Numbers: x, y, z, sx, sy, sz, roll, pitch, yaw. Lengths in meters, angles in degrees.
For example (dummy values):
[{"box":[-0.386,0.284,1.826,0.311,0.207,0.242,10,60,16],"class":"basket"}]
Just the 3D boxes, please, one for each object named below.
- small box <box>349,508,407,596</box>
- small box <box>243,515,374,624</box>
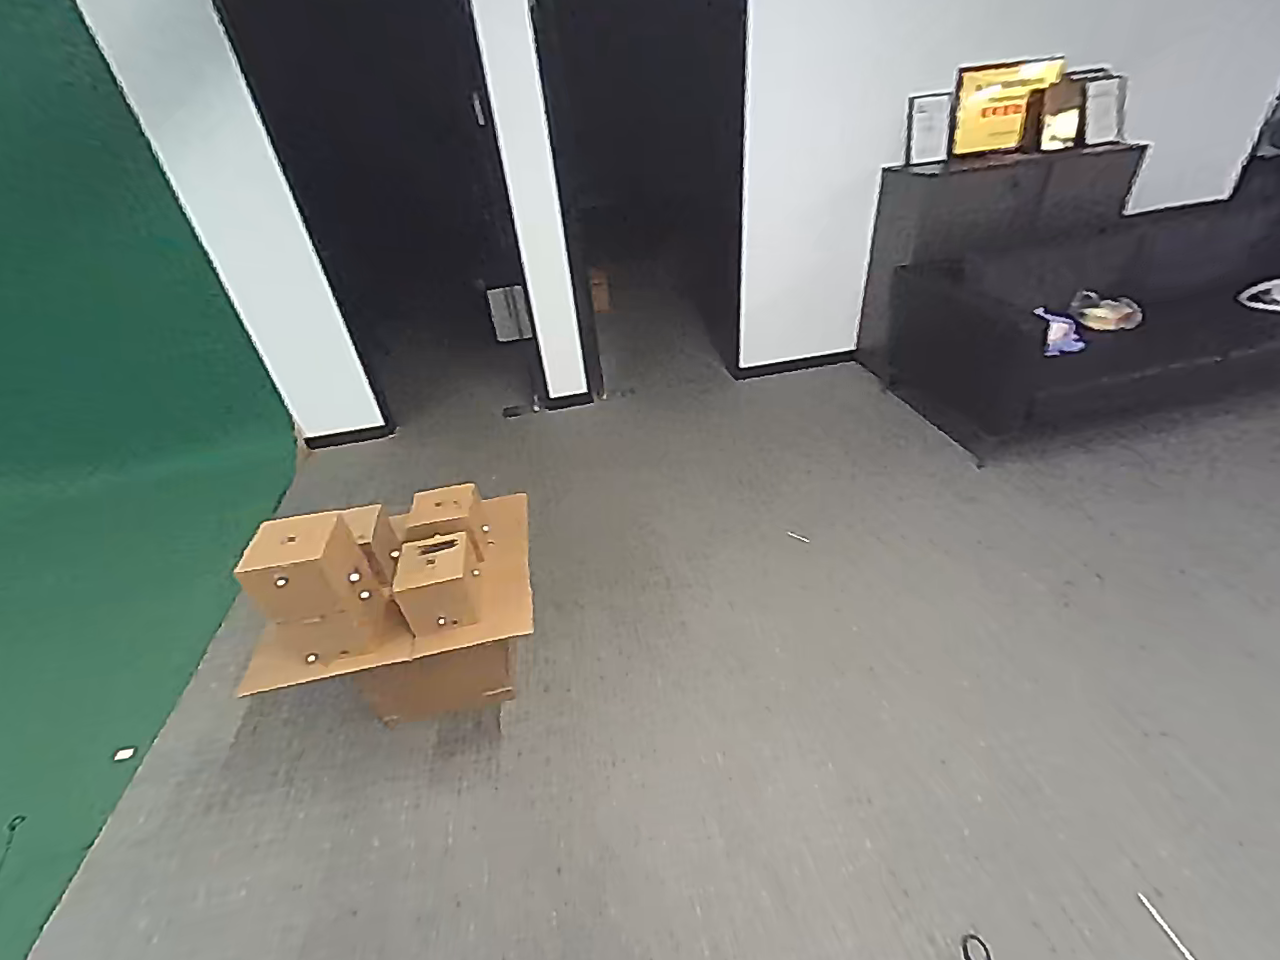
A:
[{"box":[-0.777,0.207,1.528,0.168,0.176,0.179,-13,34,-6],"class":"small box"},{"box":[-0.747,0.208,1.240,0.179,0.176,0.168,-9,37,-4],"class":"small box"}]
